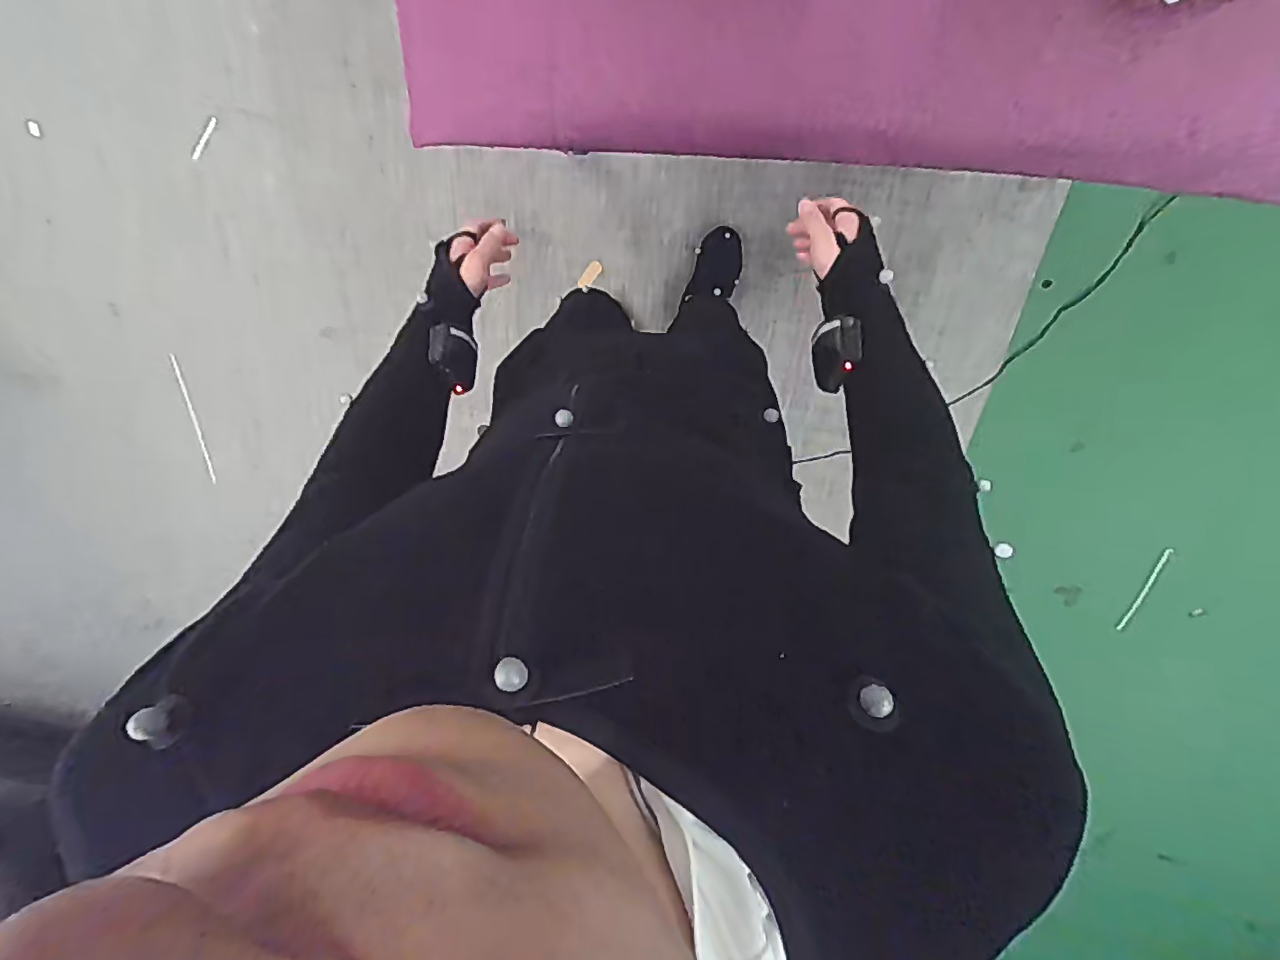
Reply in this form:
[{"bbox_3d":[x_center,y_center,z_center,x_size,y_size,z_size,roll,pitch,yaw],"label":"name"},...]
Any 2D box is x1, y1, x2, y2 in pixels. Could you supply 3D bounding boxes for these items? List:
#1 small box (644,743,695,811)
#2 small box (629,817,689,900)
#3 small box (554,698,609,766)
[{"bbox_3d":[0.124,1.219,2.229,0.179,0.176,0.168,12,117,4],"label":"small box"},{"bbox_3d":[0.073,1.346,1.932,0.179,0.176,0.168,14,117,3],"label":"small box"},{"bbox_3d":[-0.236,1.015,2.191,0.179,0.176,0.168,13,118,2],"label":"small box"}]
